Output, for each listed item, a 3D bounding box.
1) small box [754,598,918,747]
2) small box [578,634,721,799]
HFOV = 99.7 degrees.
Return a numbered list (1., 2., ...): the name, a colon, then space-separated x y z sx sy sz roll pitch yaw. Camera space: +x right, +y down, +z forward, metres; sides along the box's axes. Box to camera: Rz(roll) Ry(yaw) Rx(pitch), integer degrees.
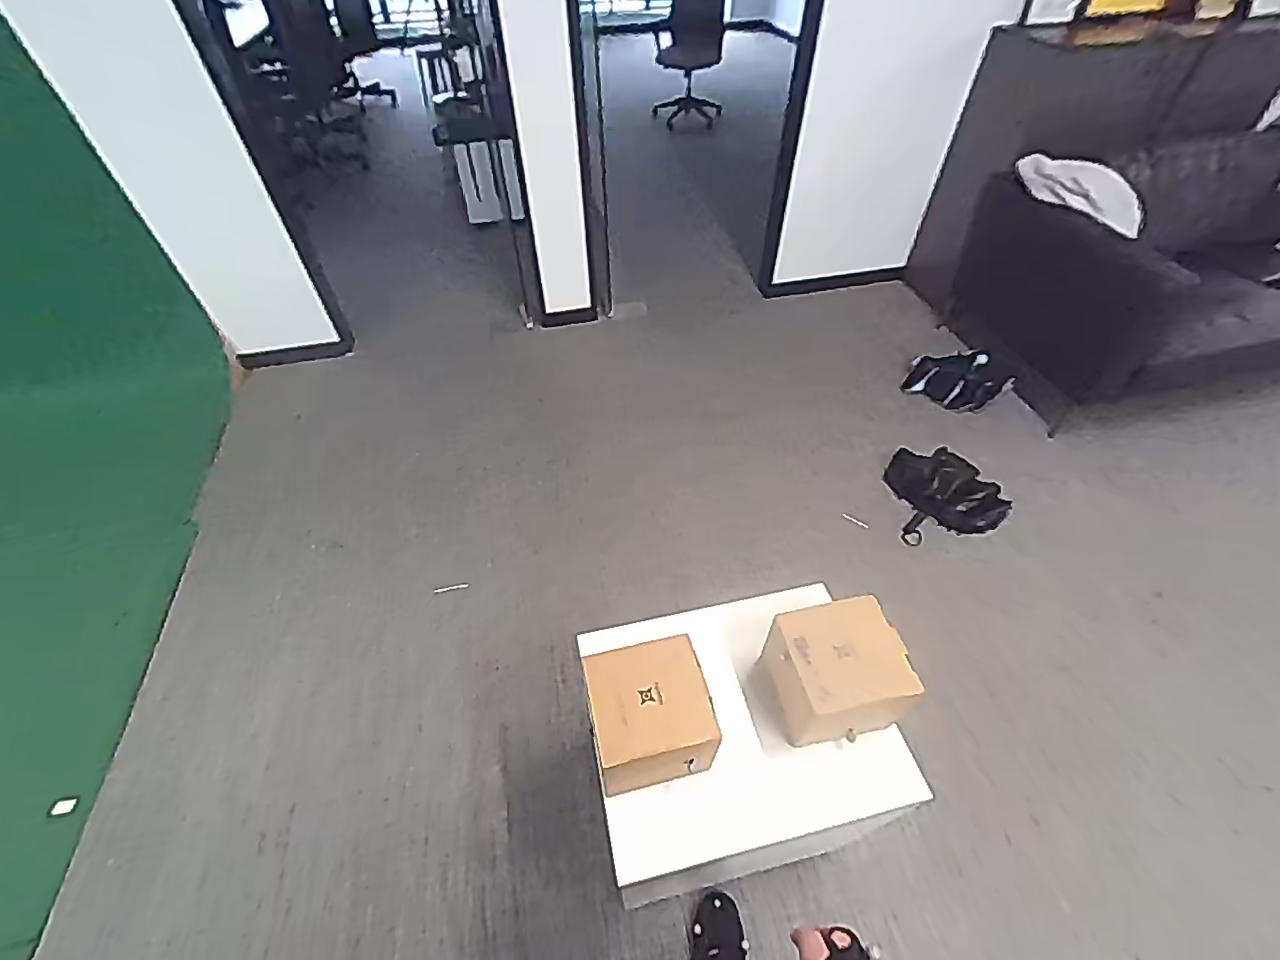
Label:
1. small box: 0.309 0.319 0.894 0.179 0.176 0.168 -8 49 -10
2. small box: 0.005 0.365 0.835 0.179 0.176 0.168 -10 48 -12
